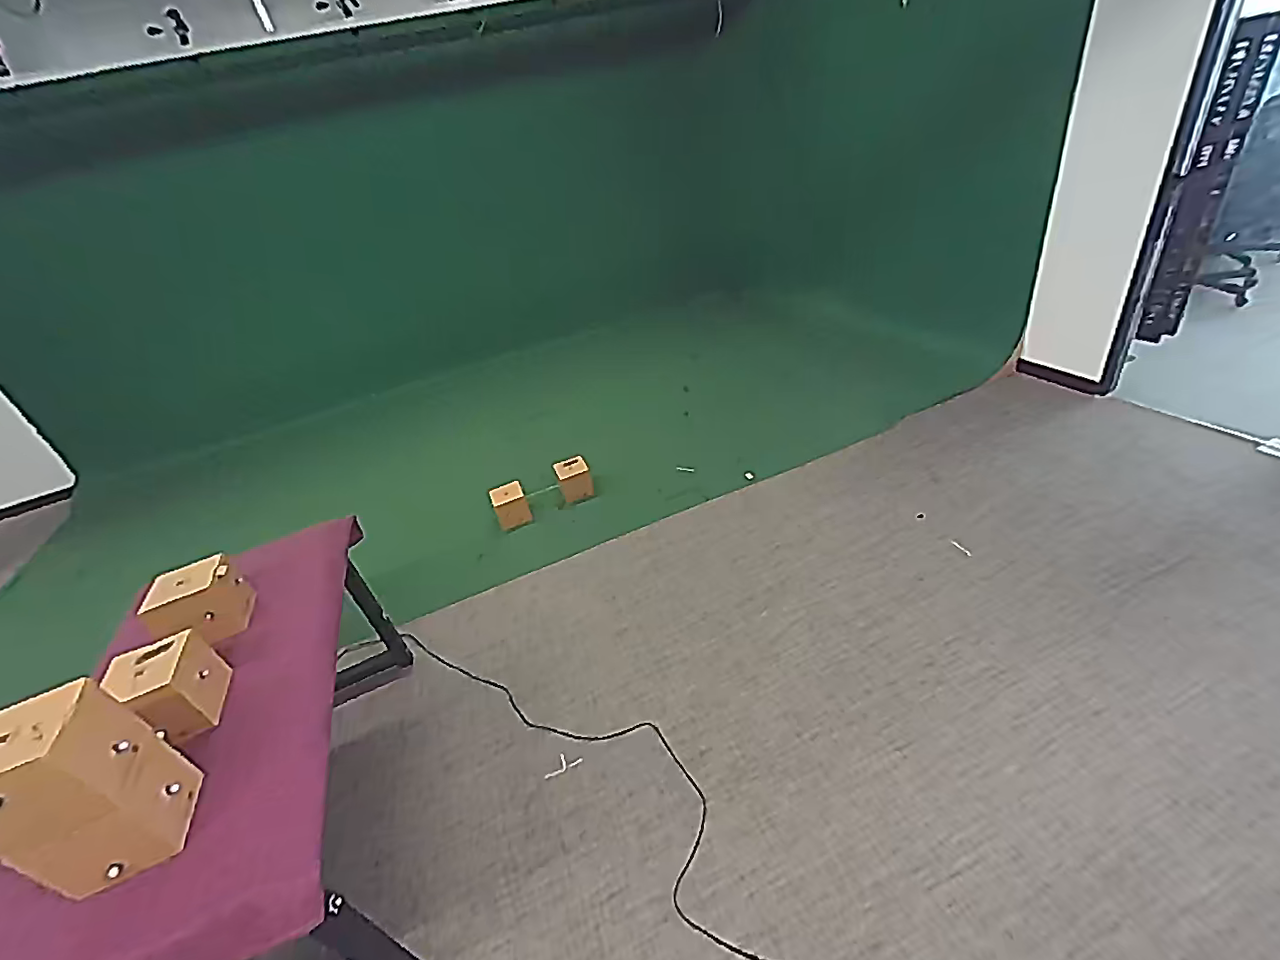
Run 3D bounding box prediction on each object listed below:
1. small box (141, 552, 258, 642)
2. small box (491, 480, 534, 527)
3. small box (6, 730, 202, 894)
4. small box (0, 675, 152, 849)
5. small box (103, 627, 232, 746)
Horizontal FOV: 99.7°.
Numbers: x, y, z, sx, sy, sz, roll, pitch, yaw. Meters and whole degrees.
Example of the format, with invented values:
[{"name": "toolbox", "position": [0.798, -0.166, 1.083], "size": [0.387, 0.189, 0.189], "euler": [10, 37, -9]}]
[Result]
[{"name": "small box", "position": [-1.206, 0.336, 1.499], "size": [0.179, 0.176, 0.168], "euler": [-22, 34, -13]}, {"name": "small box", "position": [-0.691, 0.133, 2.934], "size": [0.168, 0.176, 0.179], "euler": [-22, 34, -13]}, {"name": "small box", "position": [-0.973, 0.615, 1.007], "size": [0.179, 0.176, 0.168], "euler": [-21, 34, -14]}, {"name": "small box", "position": [-1.002, 0.479, 0.919], "size": [0.179, 0.176, 0.168], "euler": [-22, 35, -14]}, {"name": "small box", "position": [-1.082, 0.481, 1.242], "size": [0.168, 0.176, 0.179], "euler": [-22, 36, -13]}]
